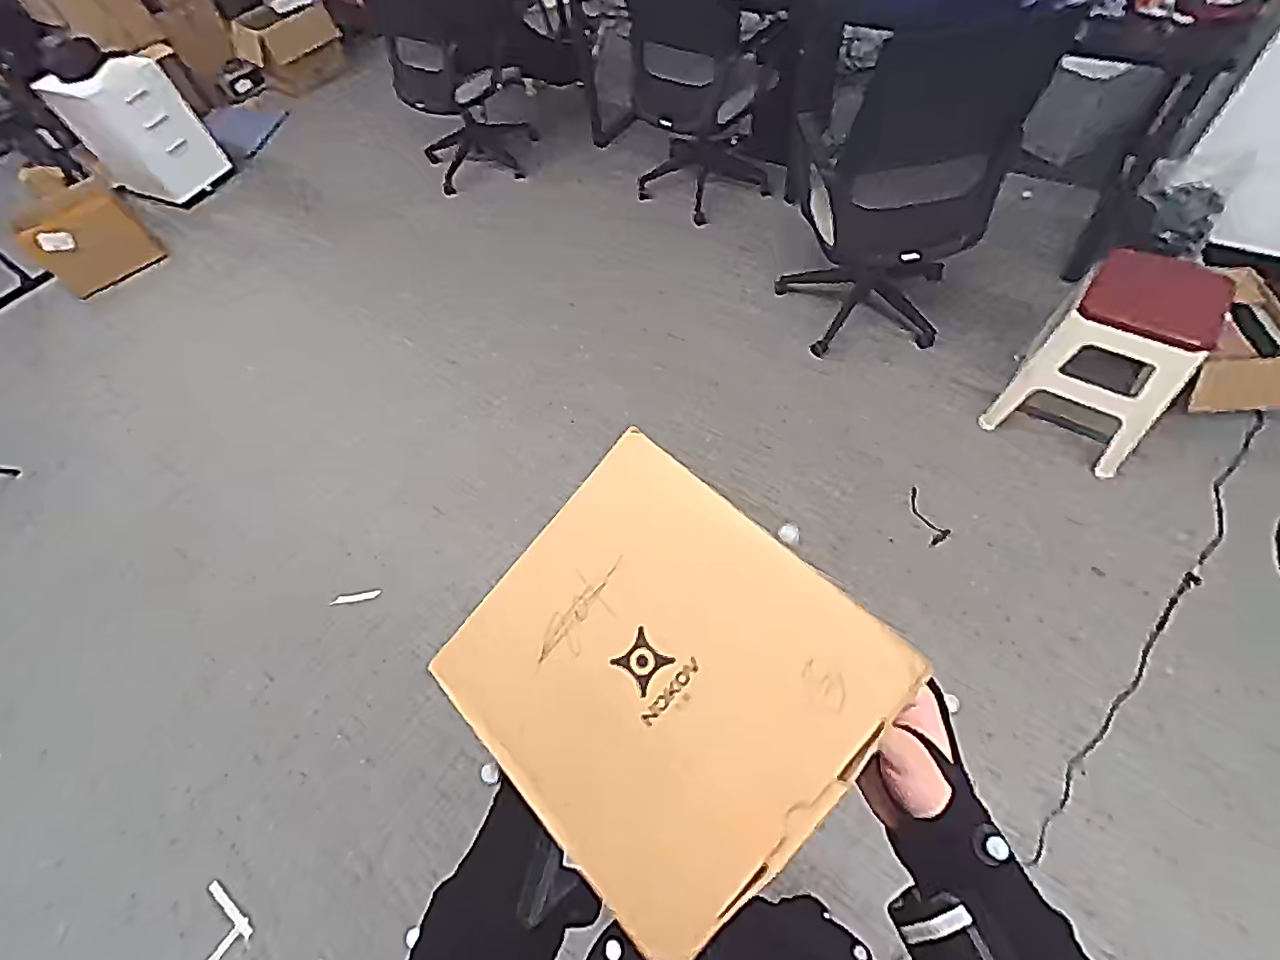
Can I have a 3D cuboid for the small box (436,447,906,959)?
[{"bbox_3d":[0.024,0.111,0.333,0.179,0.176,0.168,38,88,23],"label":"small box"}]
